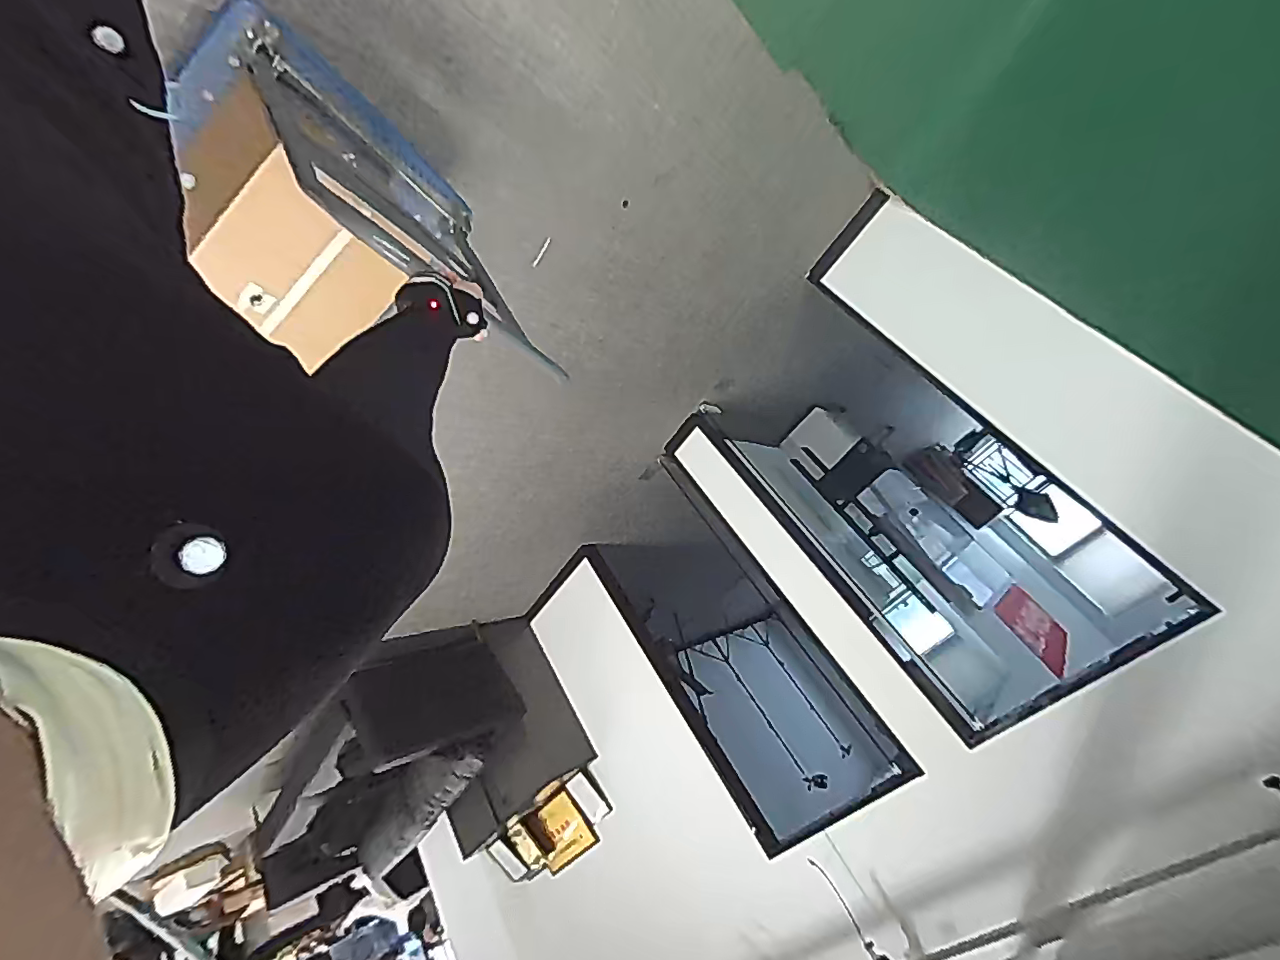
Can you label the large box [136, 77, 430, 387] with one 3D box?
[{"bbox_3d":[-0.714,-0.474,1.090,0.408,0.320,0.320,-42,152,12],"label":"large box"}]
